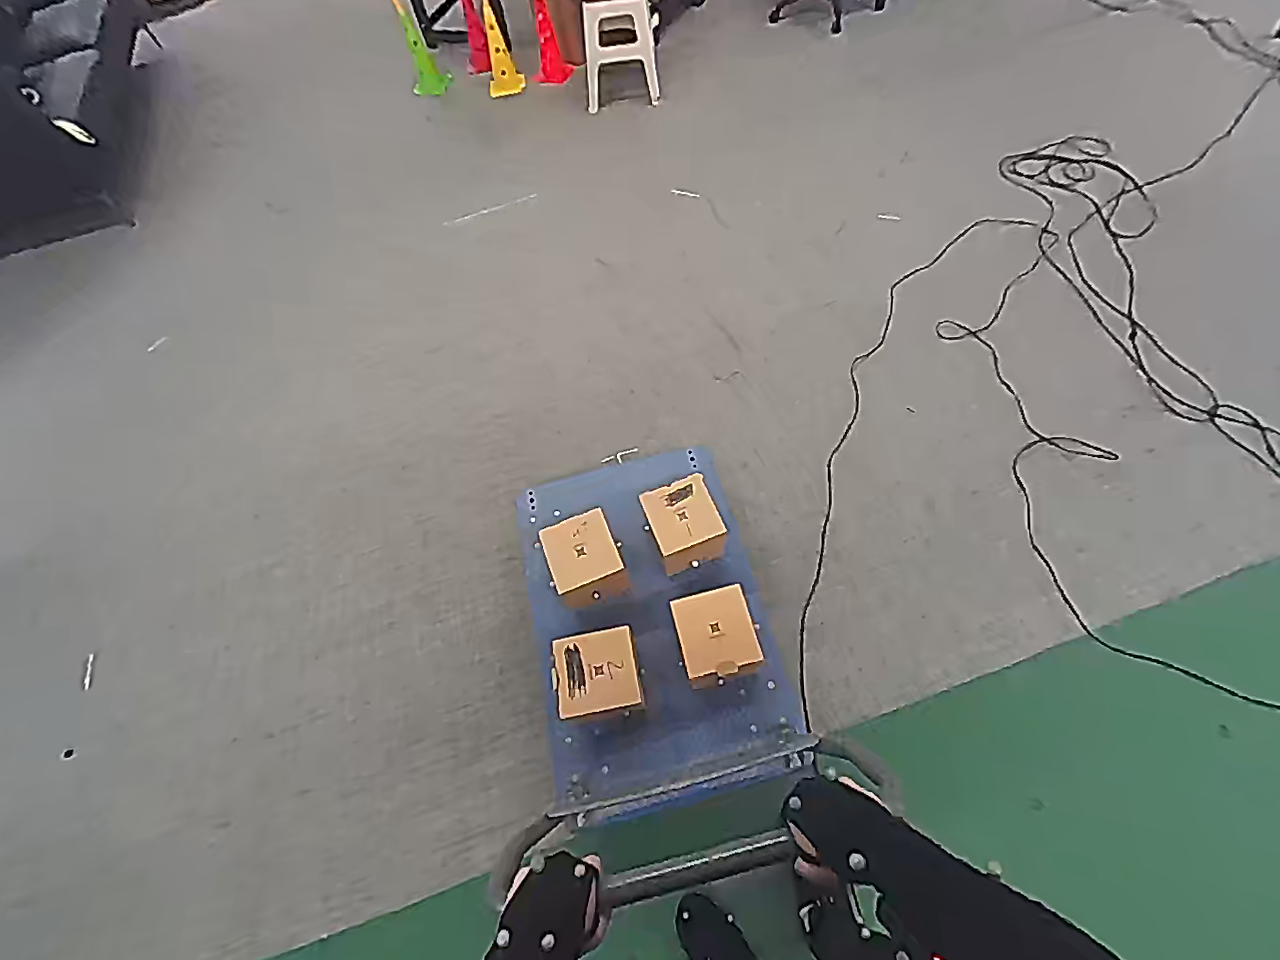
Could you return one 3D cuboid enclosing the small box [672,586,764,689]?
[{"bbox_3d":[0.172,0.369,1.255,0.168,0.176,0.179,-14,63,-2],"label":"small box"}]

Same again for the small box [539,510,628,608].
[{"bbox_3d":[-0.137,0.209,1.366,0.168,0.176,0.179,-21,62,-6],"label":"small box"}]

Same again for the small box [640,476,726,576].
[{"bbox_3d":[0.108,0.122,1.388,0.168,0.176,0.179,-21,63,-5],"label":"small box"}]
